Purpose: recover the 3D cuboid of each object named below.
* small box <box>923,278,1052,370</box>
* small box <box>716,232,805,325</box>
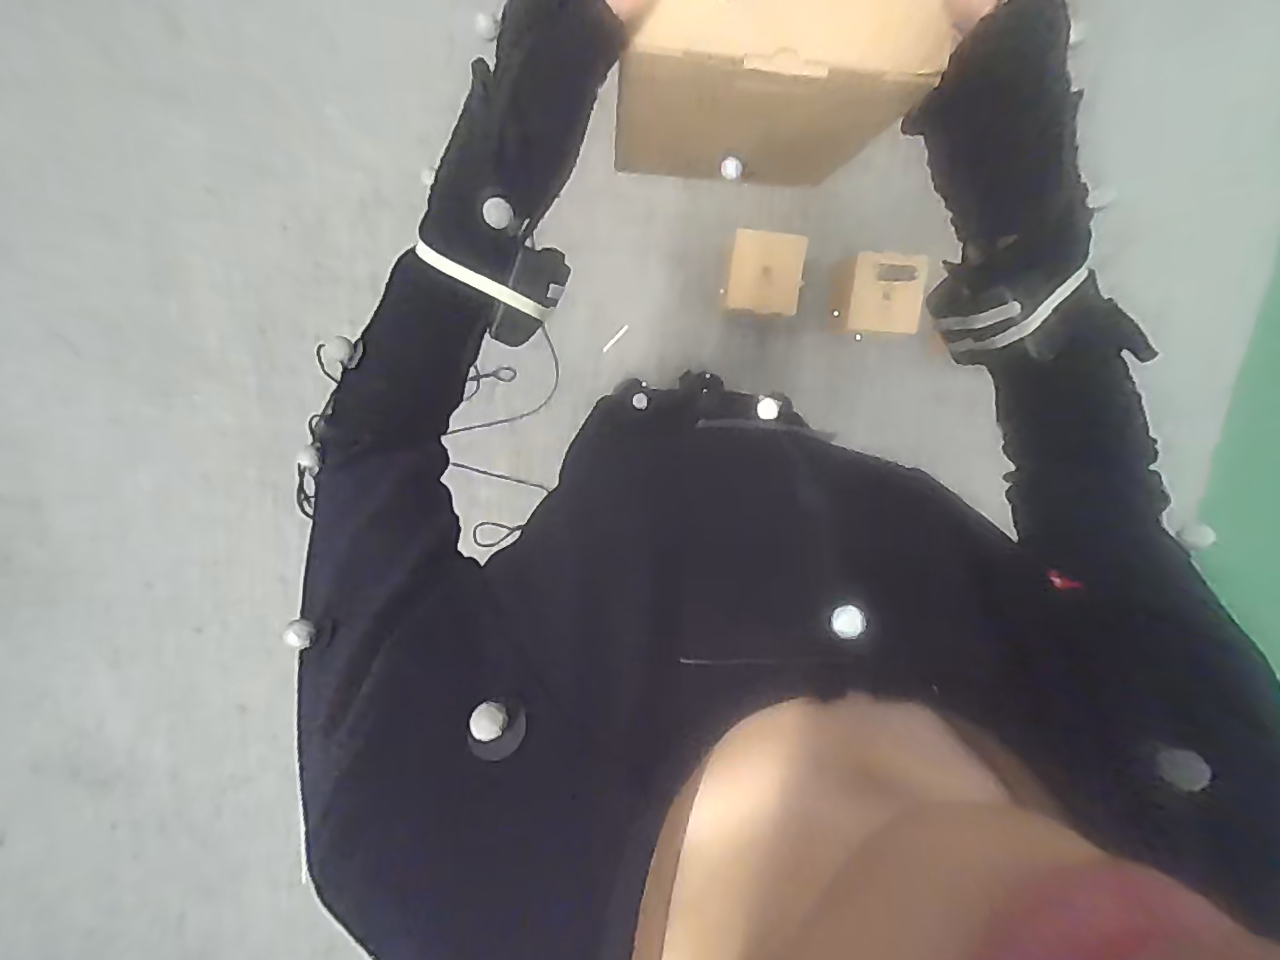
[{"bbox_3d":[0.843,-0.375,1.333,0.179,0.176,0.168,19,100,-5],"label":"small box"},{"bbox_3d":[0.283,-0.480,1.311,0.168,0.176,0.179,6,101,-1],"label":"small box"}]
